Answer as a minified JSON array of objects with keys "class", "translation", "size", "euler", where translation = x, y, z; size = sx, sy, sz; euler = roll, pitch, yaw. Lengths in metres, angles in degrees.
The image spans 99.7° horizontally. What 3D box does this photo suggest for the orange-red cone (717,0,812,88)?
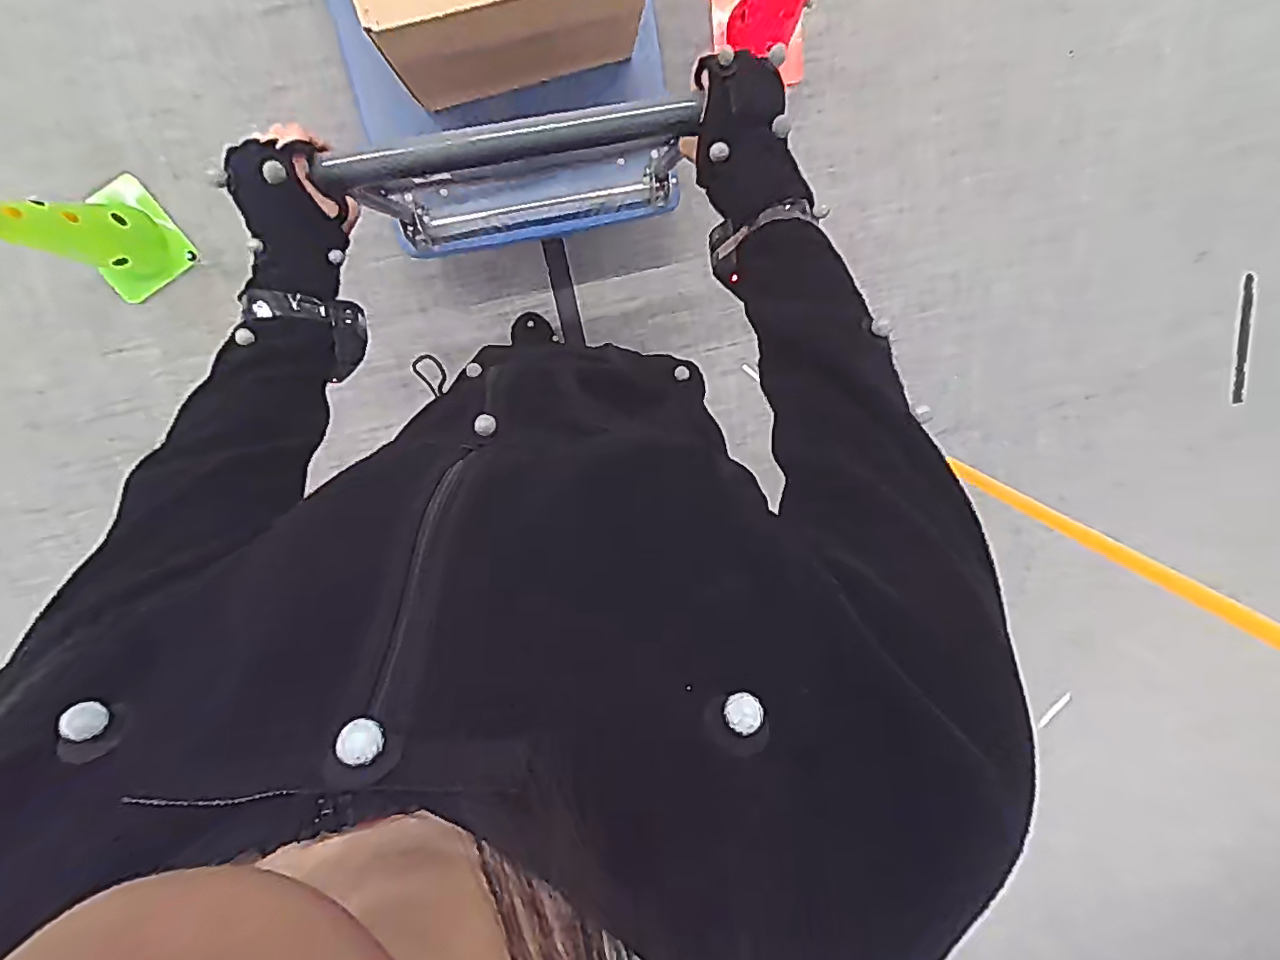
[{"class":"orange-red cone","translation":[0.285,-0.917,1.009],"size":[0.199,0.360,0.198],"euler":[-8,108,-5]}]
